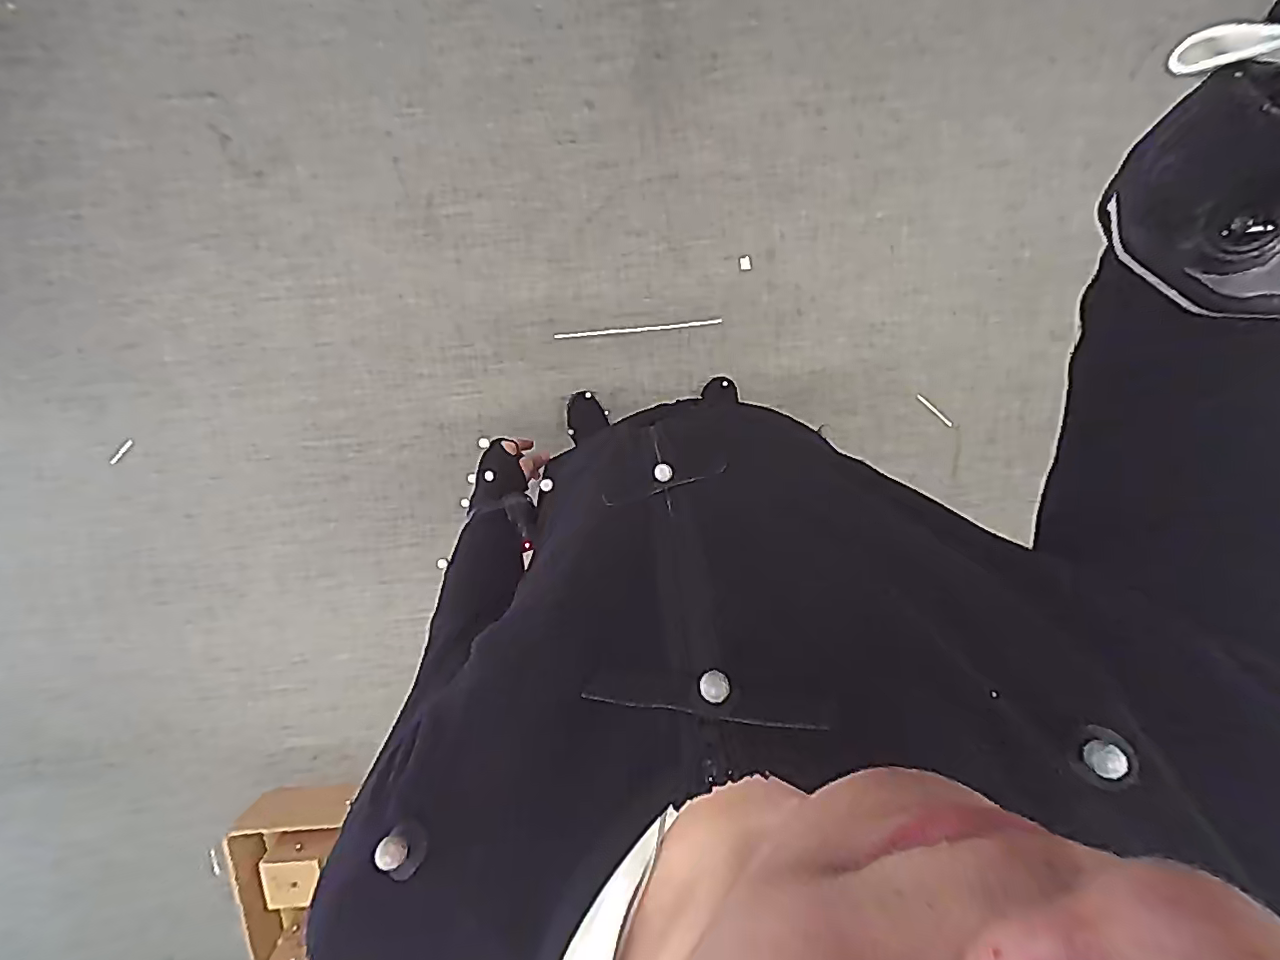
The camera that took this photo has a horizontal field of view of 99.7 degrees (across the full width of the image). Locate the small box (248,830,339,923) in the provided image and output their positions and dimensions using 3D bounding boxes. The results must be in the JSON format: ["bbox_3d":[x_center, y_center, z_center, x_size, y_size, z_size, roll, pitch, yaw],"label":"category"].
[{"bbox_3d":[-1.049,1.208,1.657,0.179,0.176,0.168,-2,100,-1],"label":"small box"}]

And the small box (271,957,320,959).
[{"bbox_3d":[-1.015,1.510,1.543,0.168,0.176,0.179,-4,98,0],"label":"small box"}]
